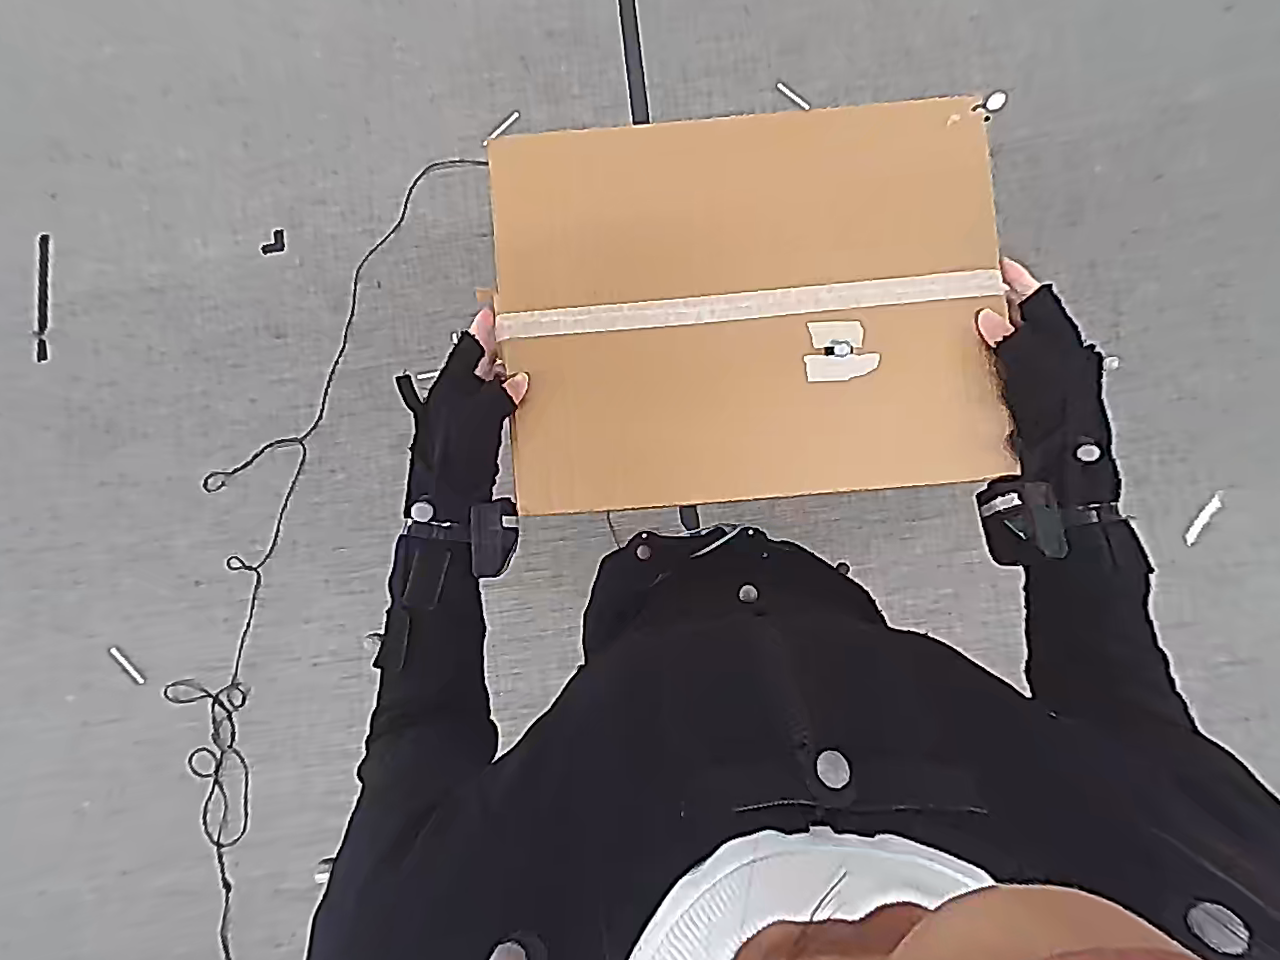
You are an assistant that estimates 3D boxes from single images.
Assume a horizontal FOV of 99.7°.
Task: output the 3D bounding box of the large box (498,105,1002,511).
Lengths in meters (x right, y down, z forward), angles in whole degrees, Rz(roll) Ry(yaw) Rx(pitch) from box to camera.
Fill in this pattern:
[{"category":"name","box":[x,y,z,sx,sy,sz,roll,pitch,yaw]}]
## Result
[{"category":"large box","box":[0.089,-0.142,0.601,0.408,0.320,0.320,-5,89,0]}]
